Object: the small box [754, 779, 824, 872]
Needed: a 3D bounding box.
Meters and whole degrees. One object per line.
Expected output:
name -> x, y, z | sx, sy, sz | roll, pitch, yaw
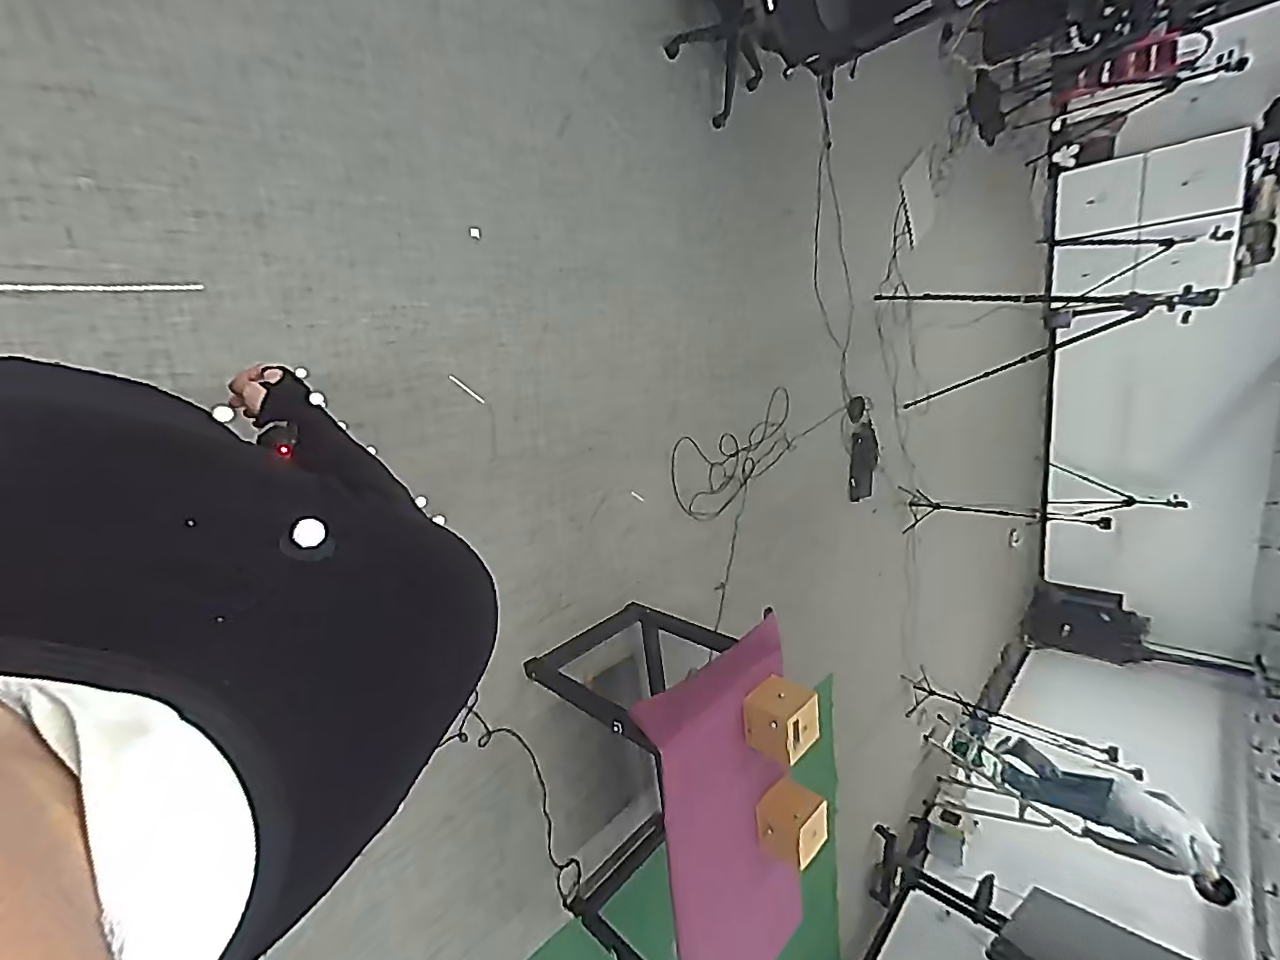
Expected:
small box -> 0.508, 1.166, 1.844 | 0.179, 0.176, 0.168 | -15, 106, -40
